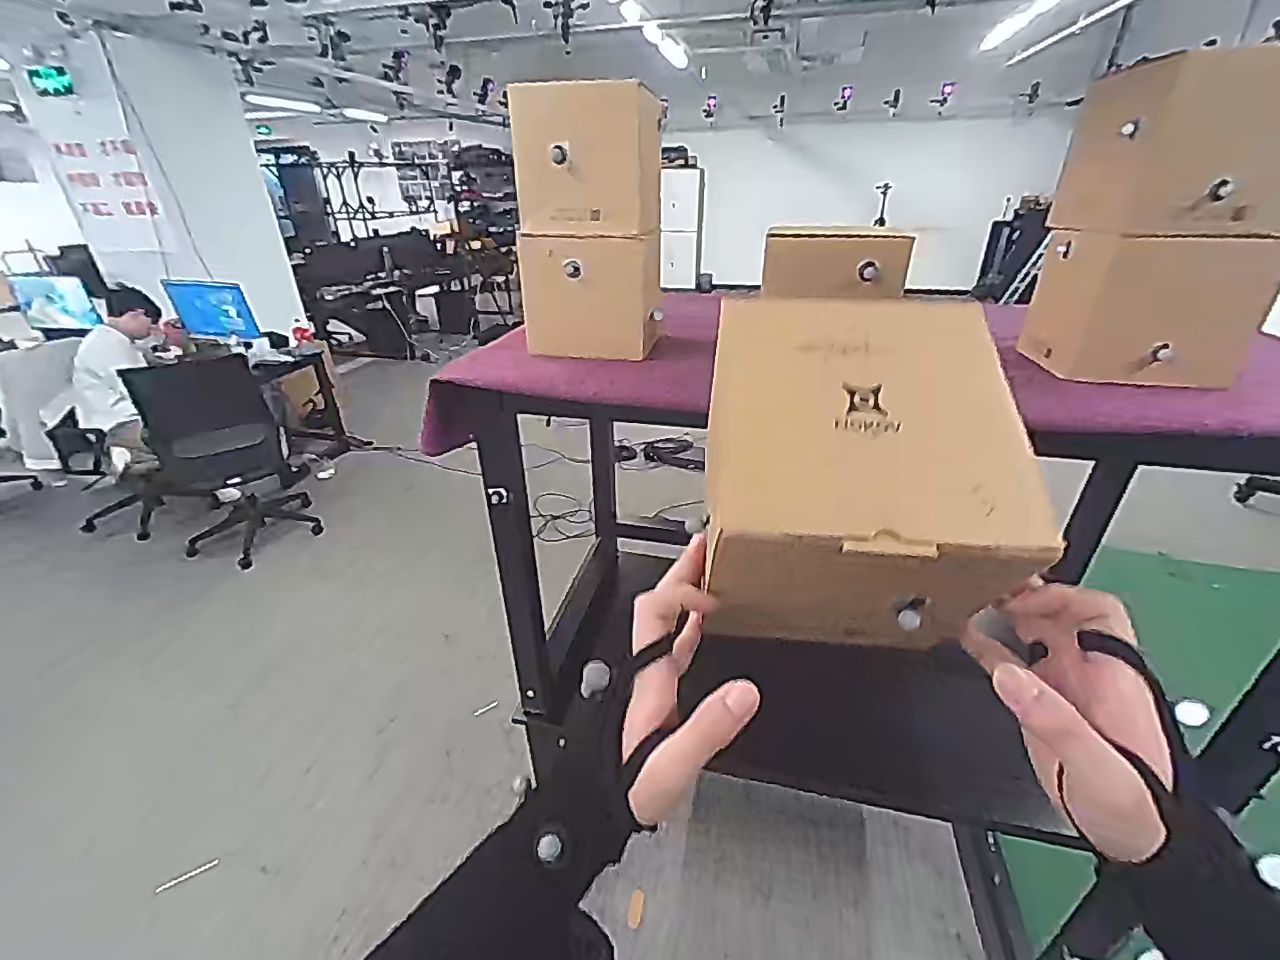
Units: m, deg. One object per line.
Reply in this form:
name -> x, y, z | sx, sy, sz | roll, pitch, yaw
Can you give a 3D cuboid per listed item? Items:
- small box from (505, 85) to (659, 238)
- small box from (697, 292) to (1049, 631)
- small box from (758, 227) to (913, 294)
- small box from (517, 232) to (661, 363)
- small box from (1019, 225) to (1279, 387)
small box -> -0.066, -0.426, 0.749 | 0.168, 0.176, 0.179 | 4, 28, 10
small box -> 0.127, -0.005, 0.374 | 0.168, 0.176, 0.179 | 3, 59, 5
small box -> 0.259, -0.256, 0.759 | 0.179, 0.176, 0.168 | 5, 29, 13
small box -> -0.066, -0.281, 0.821 | 0.179, 0.176, 0.168 | 5, 29, 9
small box -> 0.621, -0.221, 0.677 | 0.179, 0.176, 0.168 | 5, 27, 12
